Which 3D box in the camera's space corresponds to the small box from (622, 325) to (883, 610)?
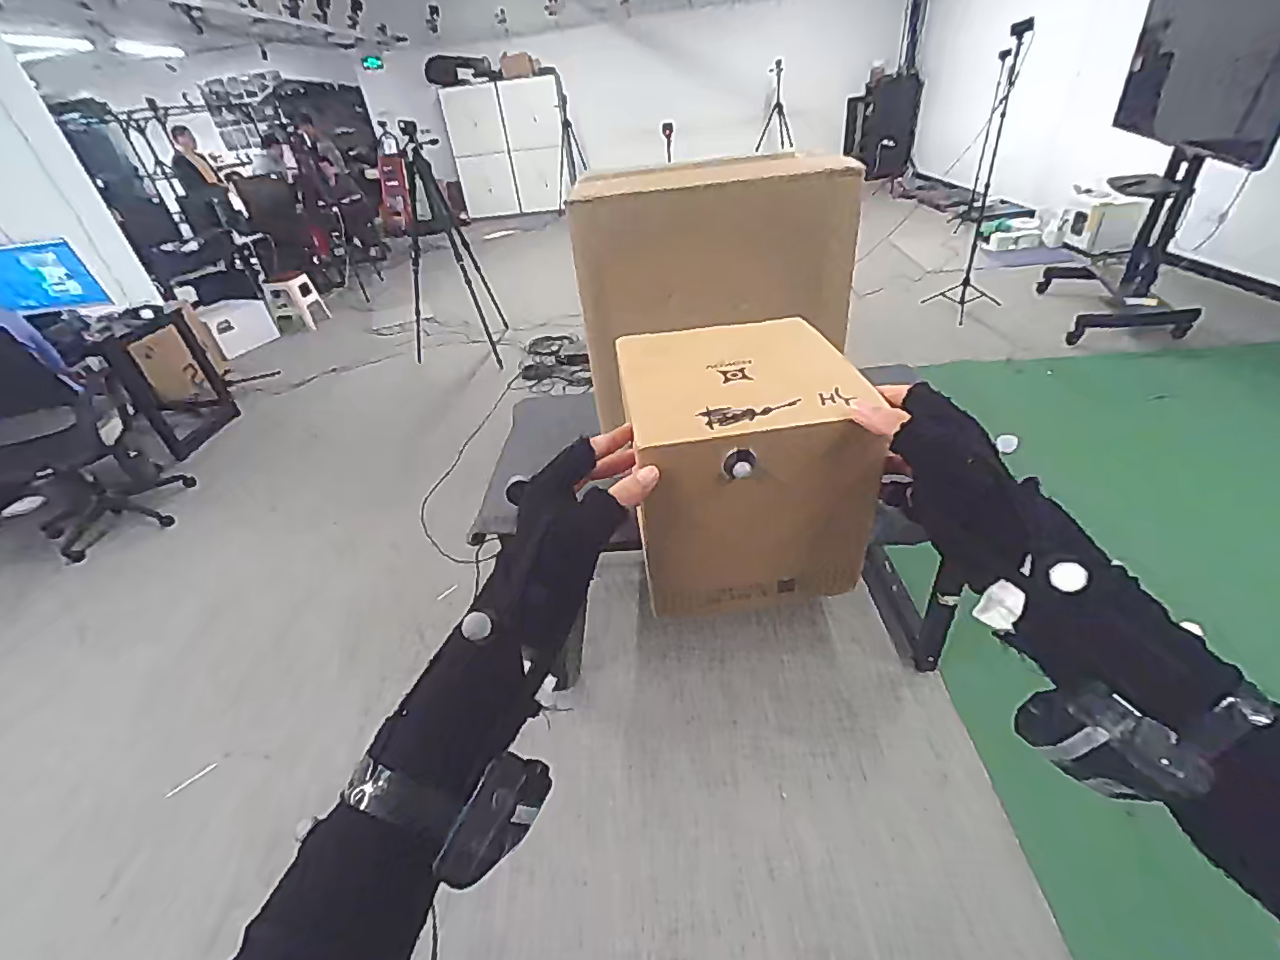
[{"bbox_3d":[0.077,-0.016,0.463,0.168,0.176,0.179,-8,35,-2],"label":"small box"}]
